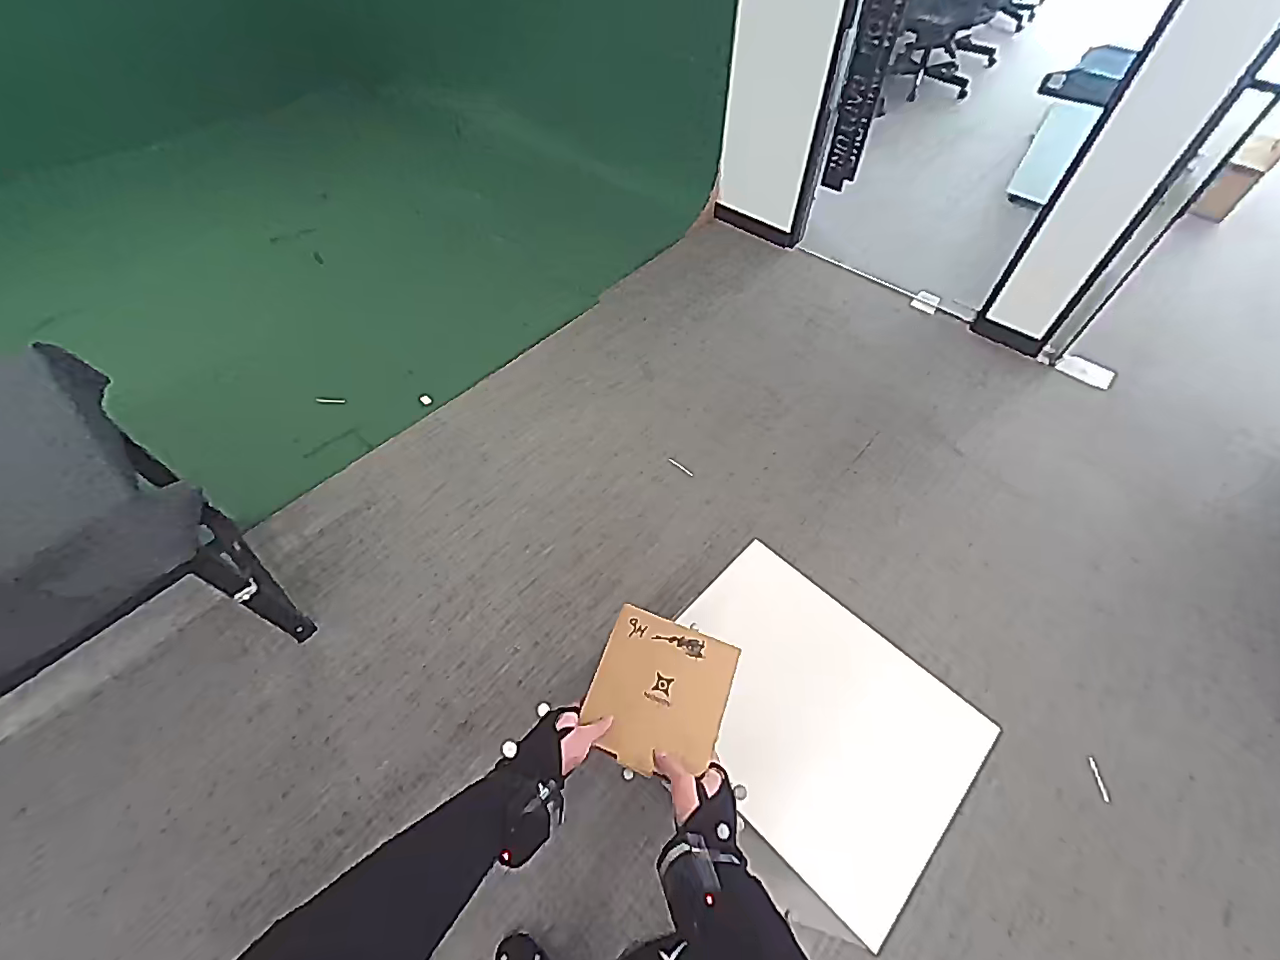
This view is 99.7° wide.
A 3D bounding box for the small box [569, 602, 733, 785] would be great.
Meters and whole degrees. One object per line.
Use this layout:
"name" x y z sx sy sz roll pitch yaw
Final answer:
"small box" 0.015 0.296 0.744 0.168 0.176 0.179 18 62 6
